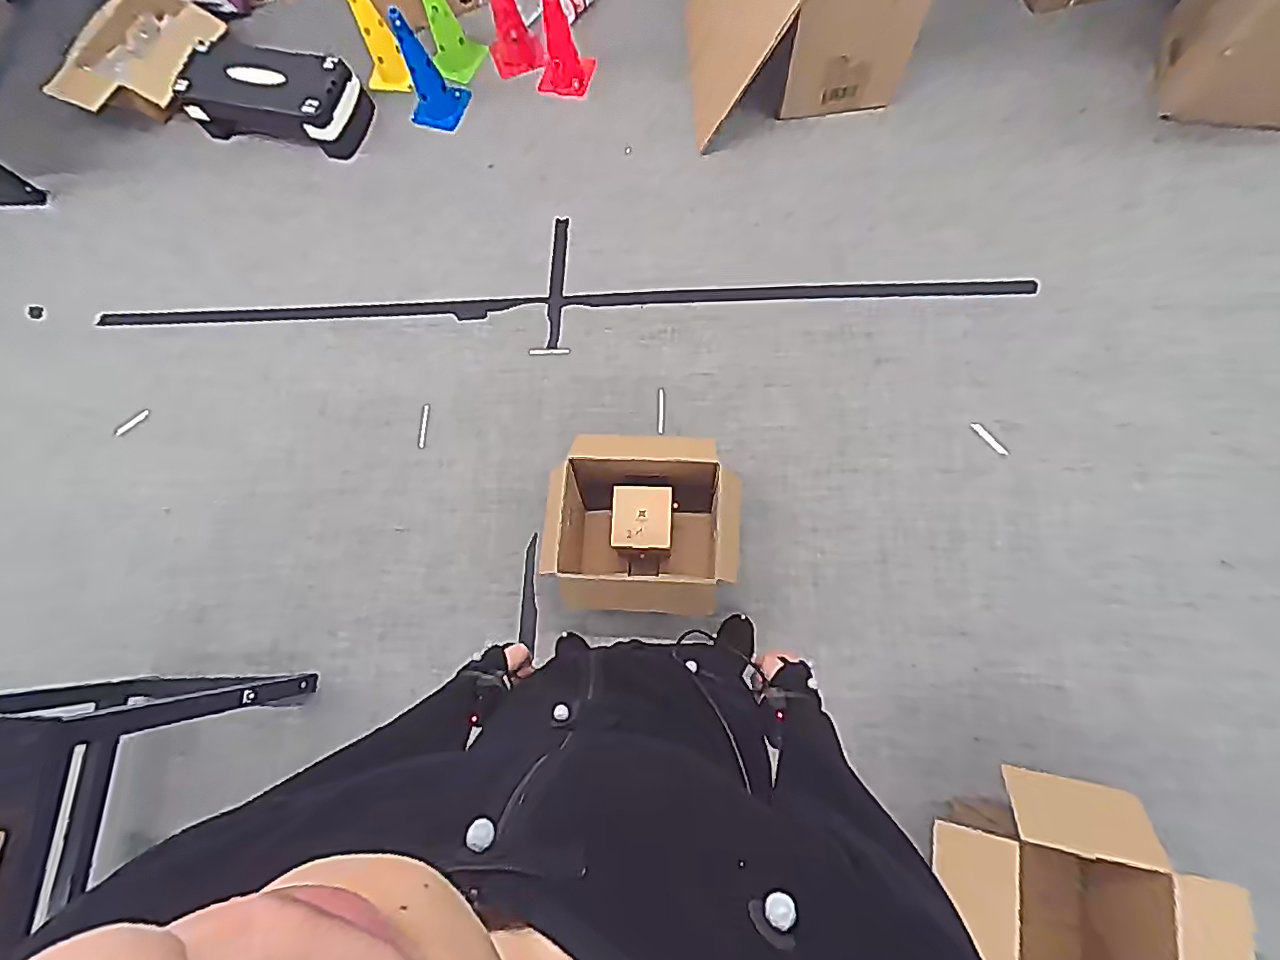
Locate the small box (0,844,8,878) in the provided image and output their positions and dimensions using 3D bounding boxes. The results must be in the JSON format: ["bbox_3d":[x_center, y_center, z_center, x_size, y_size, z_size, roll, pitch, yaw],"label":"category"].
[{"bbox_3d":[-1.146,0.657,0.822,0.168,0.176,0.179,1,78,6],"label":"small box"}]
